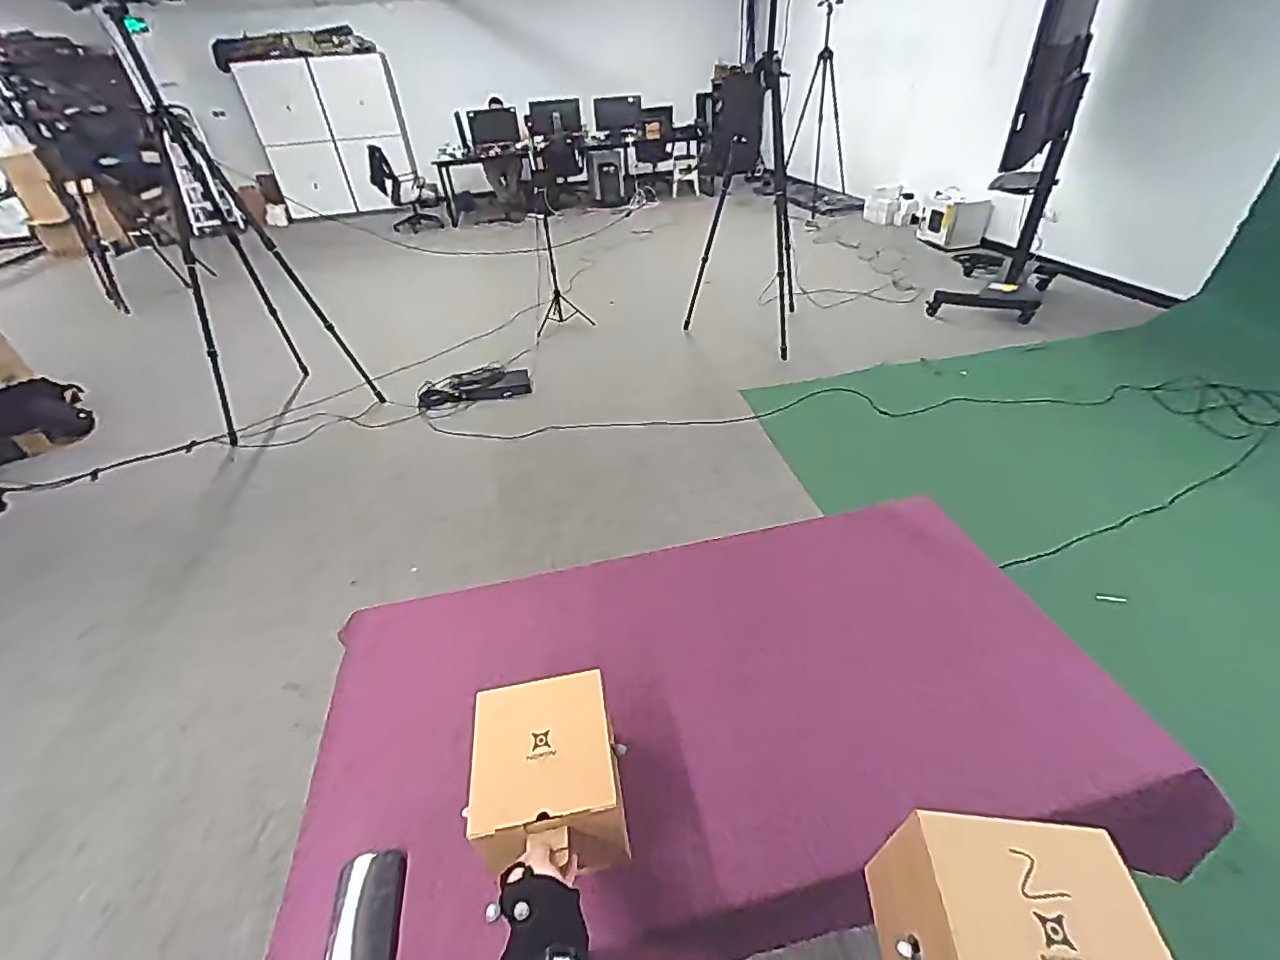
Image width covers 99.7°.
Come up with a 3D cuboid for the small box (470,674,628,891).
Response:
[{"bbox_3d":[-0.110,0.385,0.696,0.168,0.176,0.179,-8,37,-6],"label":"small box"}]
